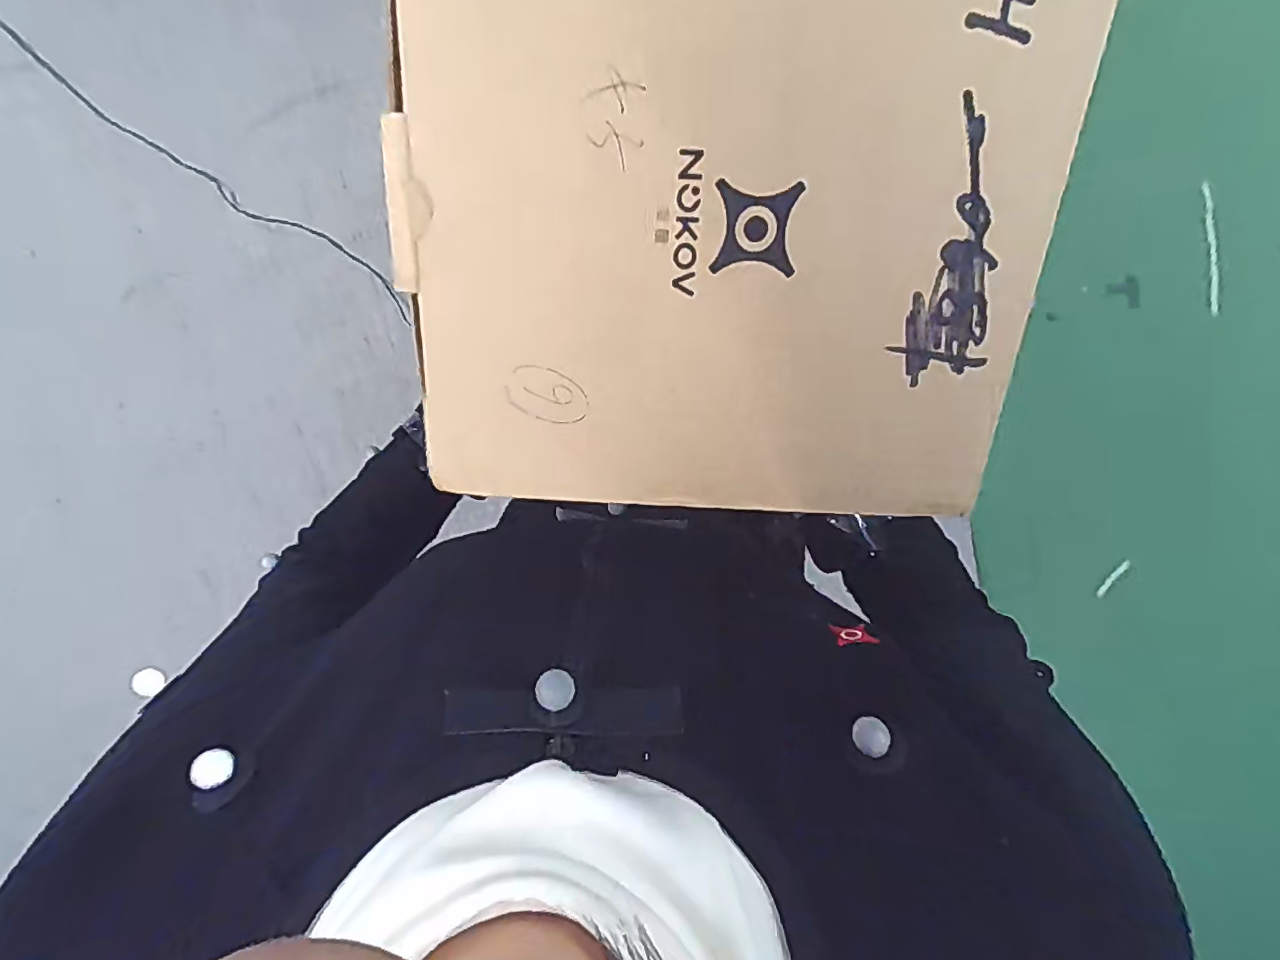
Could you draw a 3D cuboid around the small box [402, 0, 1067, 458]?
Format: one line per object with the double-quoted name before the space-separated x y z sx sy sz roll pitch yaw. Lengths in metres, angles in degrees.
"small box" 0.025 -0.111 0.229 0.179 0.176 0.168 0 109 1
